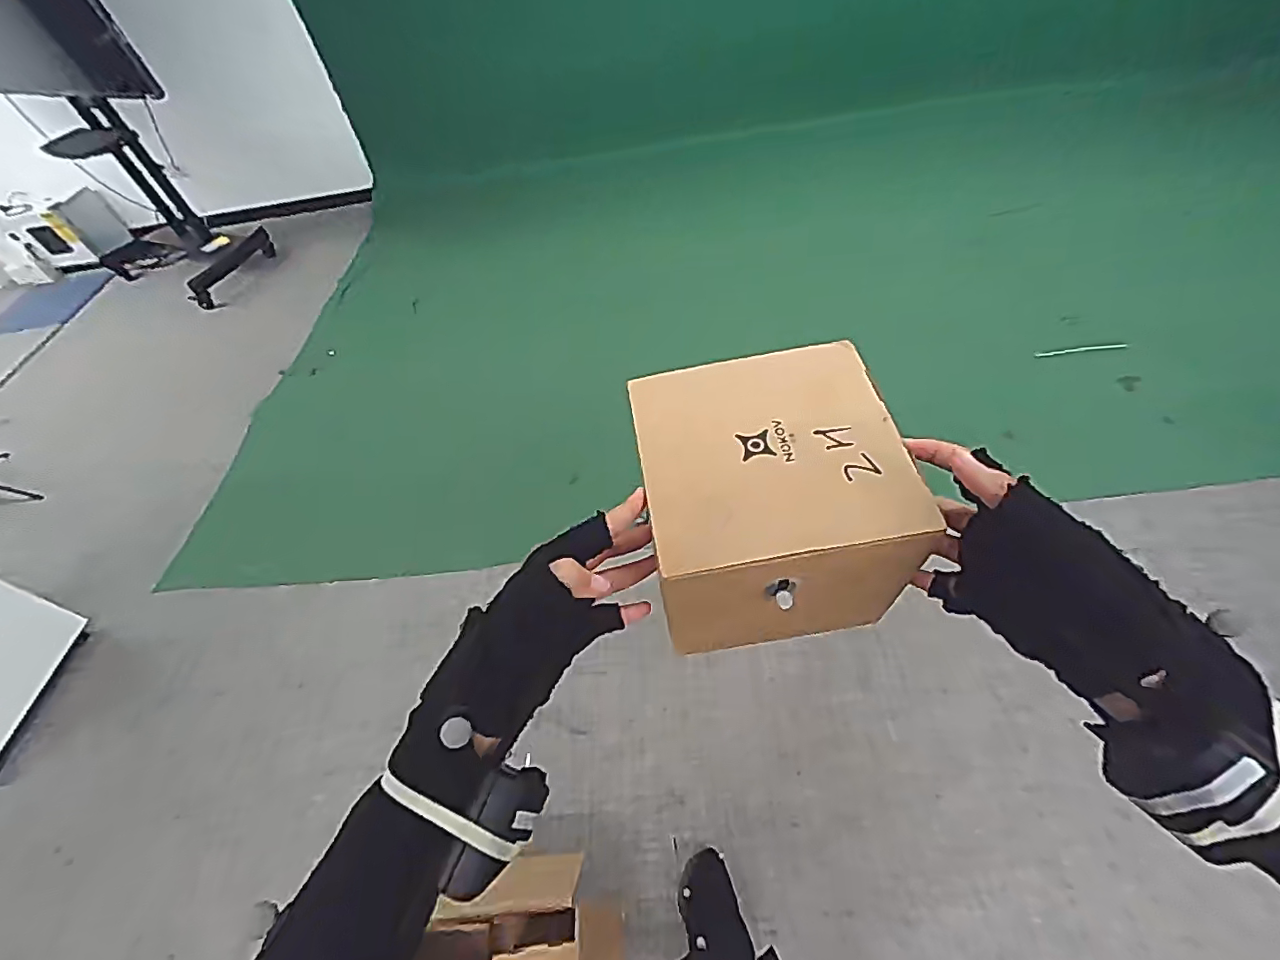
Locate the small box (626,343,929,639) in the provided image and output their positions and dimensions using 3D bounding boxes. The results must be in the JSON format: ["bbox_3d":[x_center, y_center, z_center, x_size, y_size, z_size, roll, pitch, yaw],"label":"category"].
[{"bbox_3d":[0.092,0.018,0.442,0.179,0.176,0.168,-9,57,0],"label":"small box"}]
